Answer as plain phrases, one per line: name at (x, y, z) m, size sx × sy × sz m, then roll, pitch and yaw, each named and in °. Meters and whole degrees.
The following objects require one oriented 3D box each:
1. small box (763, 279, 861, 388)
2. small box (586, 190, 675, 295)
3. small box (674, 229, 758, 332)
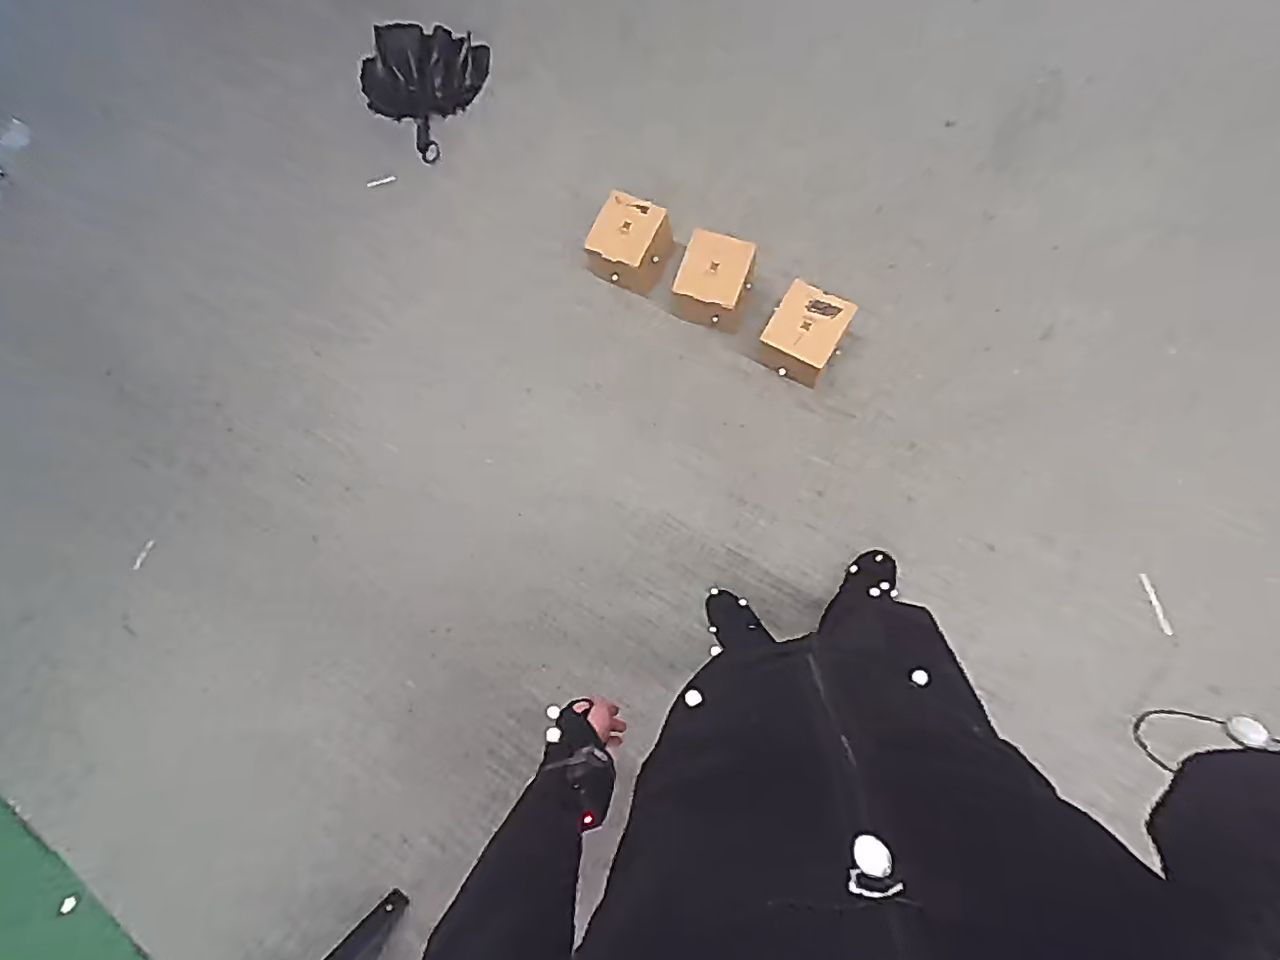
small box at (0.417, -0.358, 1.348) m, size 0.168 × 0.176 × 0.179 m, roll 31°, pitch 90°, yaw 14°
small box at (-0.016, -0.636, 1.470) m, size 0.168 × 0.176 × 0.179 m, roll 28°, pitch 89°, yaw 13°
small box at (0.202, -0.512, 1.413) m, size 0.168 × 0.176 × 0.179 m, roll 19°, pitch 85°, yaw 11°
